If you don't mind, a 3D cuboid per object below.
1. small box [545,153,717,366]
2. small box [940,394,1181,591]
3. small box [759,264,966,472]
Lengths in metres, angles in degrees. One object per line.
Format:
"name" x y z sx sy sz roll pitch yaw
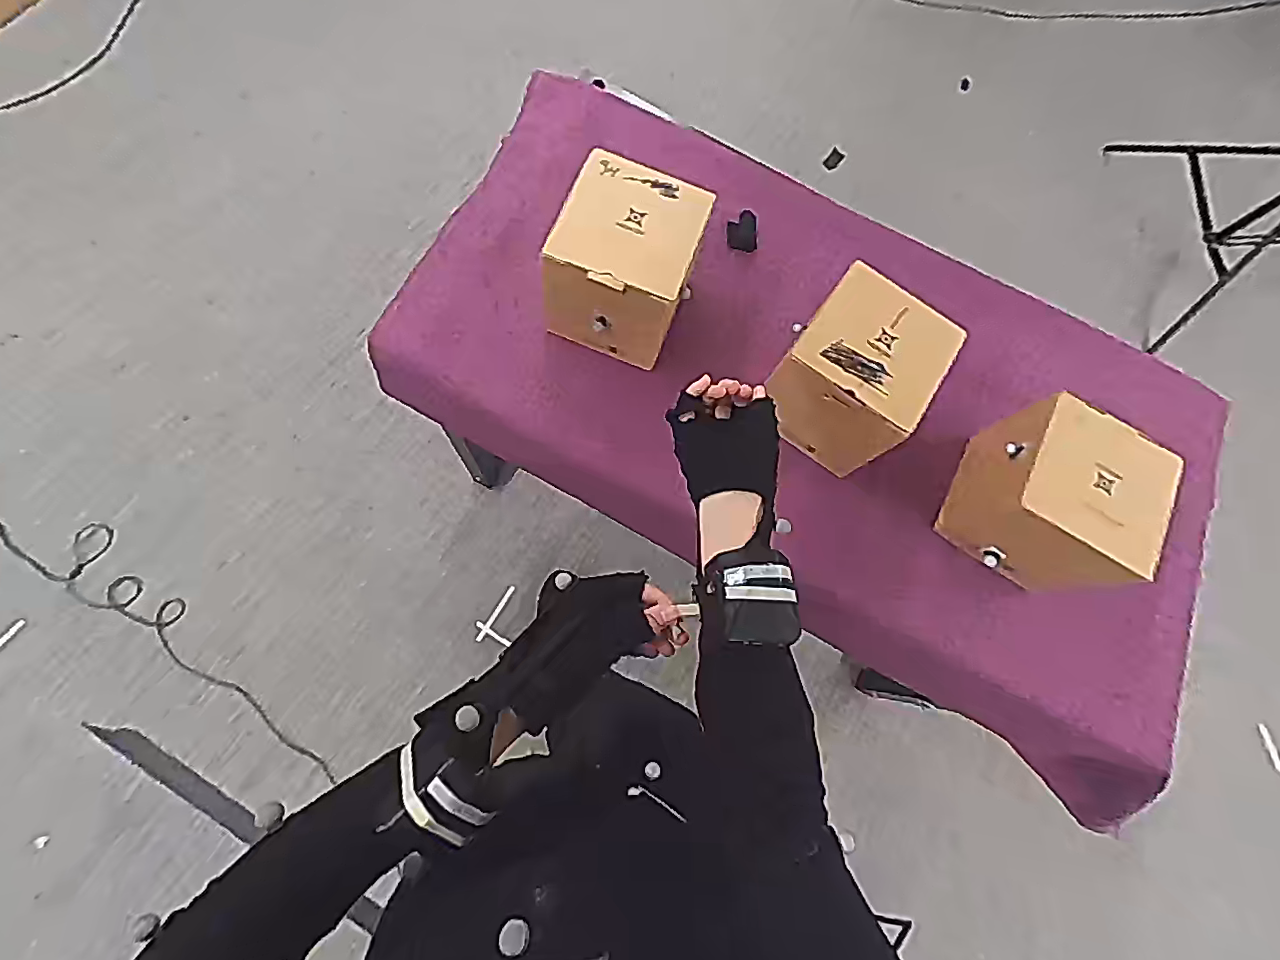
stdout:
"small box" -0.015 -0.283 0.728 0.168 0.176 0.179 21 72 -1
"small box" 0.535 0.026 0.709 0.168 0.176 0.179 31 72 4
"small box" 0.281 -0.138 0.724 0.168 0.176 0.179 36 71 4
